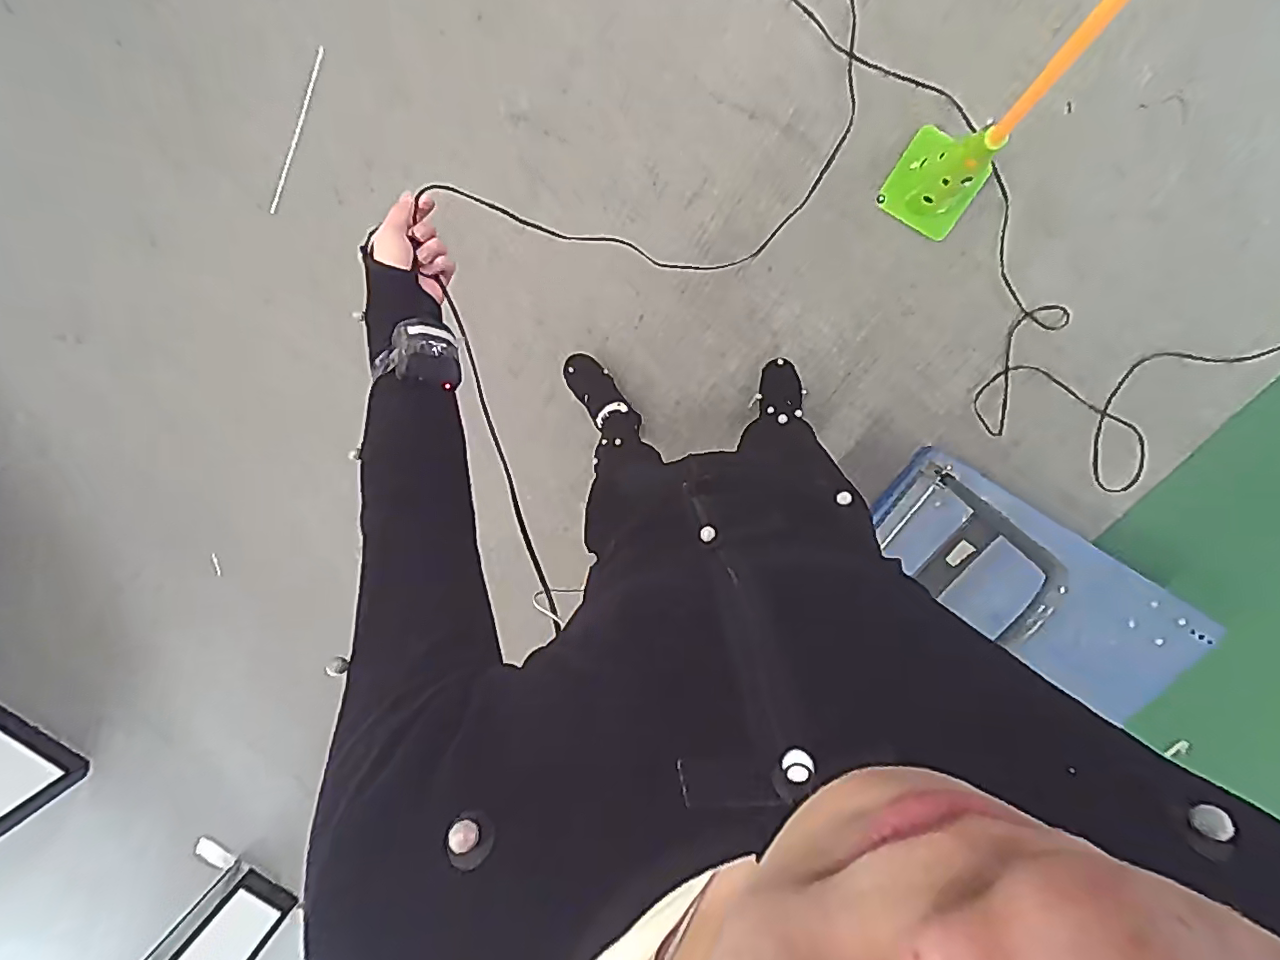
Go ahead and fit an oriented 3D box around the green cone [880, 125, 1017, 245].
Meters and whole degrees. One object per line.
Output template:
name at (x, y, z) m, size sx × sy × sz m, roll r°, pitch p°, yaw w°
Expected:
green cone at (0.687, -0.657, 1.142) m, size 0.200 × 0.368 × 0.202 m, roll 31°, pitch 108°, yaw 0°
